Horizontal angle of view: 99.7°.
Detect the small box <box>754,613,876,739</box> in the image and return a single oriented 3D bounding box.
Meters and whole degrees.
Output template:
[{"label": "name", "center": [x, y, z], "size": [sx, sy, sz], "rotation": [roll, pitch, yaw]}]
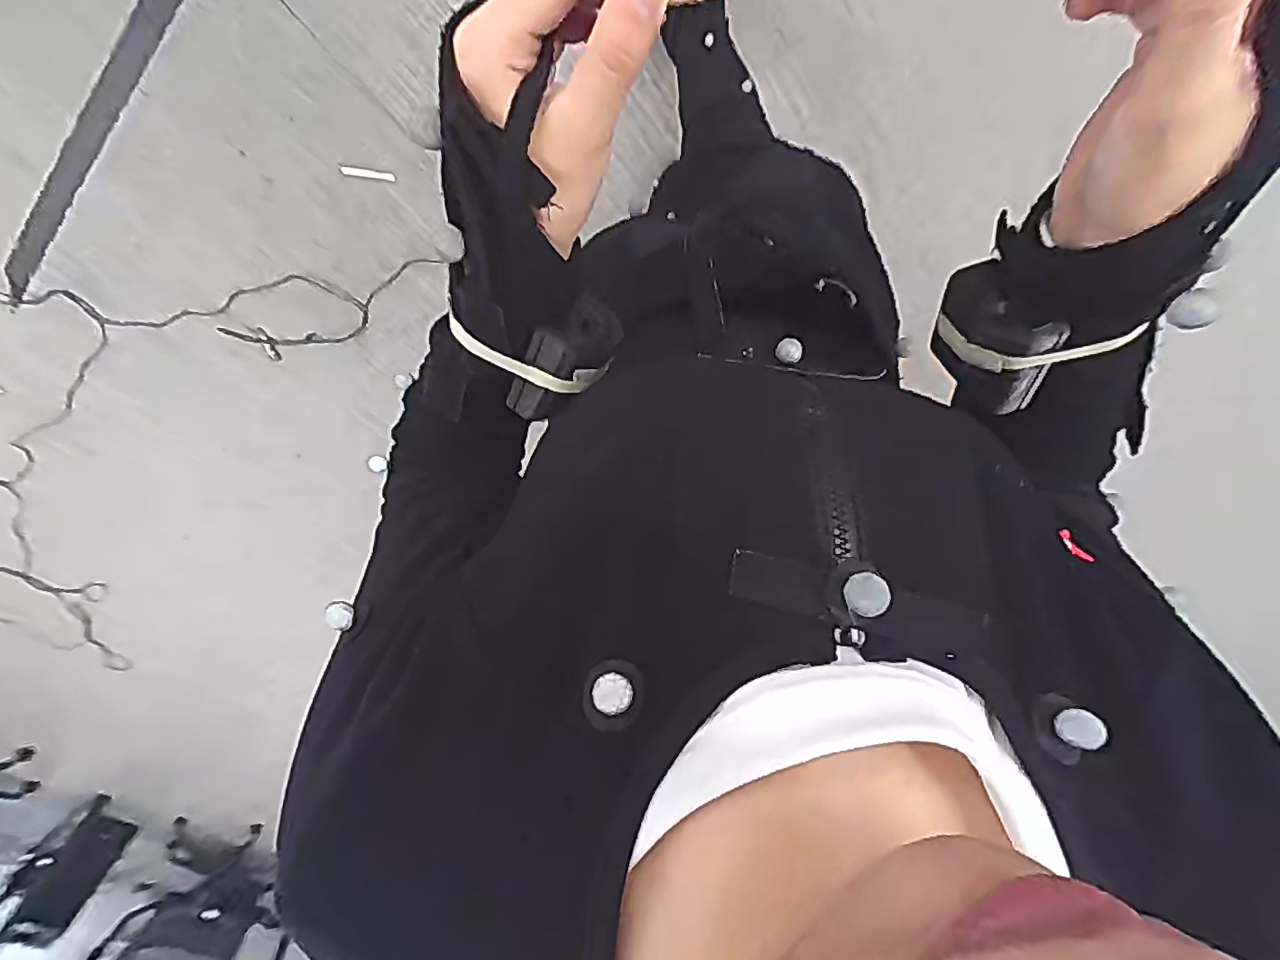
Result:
[{"label": "small box", "center": [0.363, 0.414, 1.155], "size": [0.179, 0.176, 0.168], "rotation": [-37, 116, 27]}]
